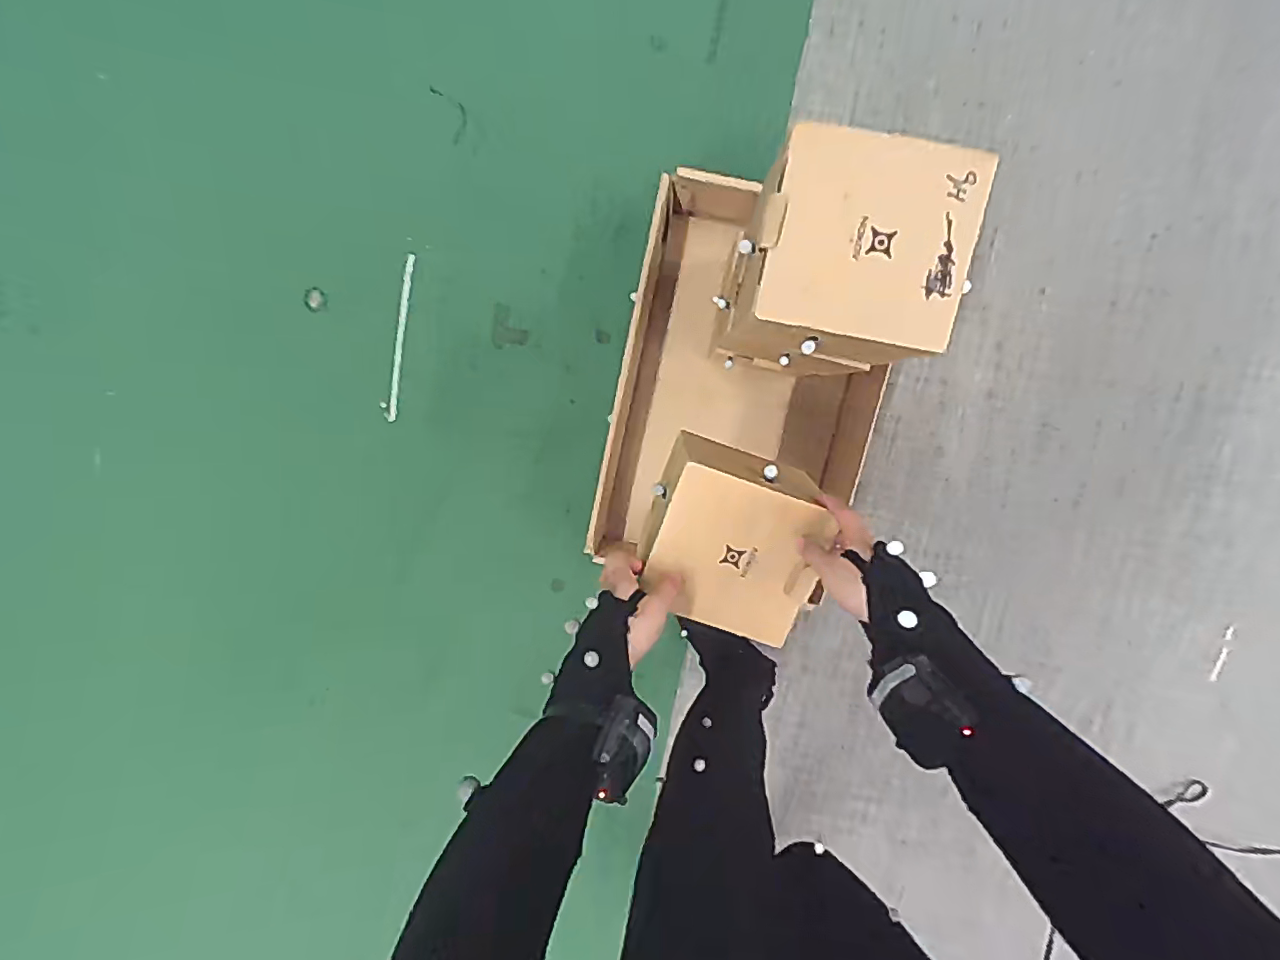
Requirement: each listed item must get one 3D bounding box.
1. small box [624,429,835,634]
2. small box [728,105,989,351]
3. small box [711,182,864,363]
[{"bbox_3d":[0.091,0.047,0.639,0.179,0.176,0.168,19,104,-5],"label":"small box"},{"bbox_3d":[0.191,-0.228,0.536,0.179,0.176,0.168,11,99,2],"label":"small box"},{"bbox_3d":[0.197,-0.252,0.699,0.179,0.176,0.168,14,99,-1],"label":"small box"}]
